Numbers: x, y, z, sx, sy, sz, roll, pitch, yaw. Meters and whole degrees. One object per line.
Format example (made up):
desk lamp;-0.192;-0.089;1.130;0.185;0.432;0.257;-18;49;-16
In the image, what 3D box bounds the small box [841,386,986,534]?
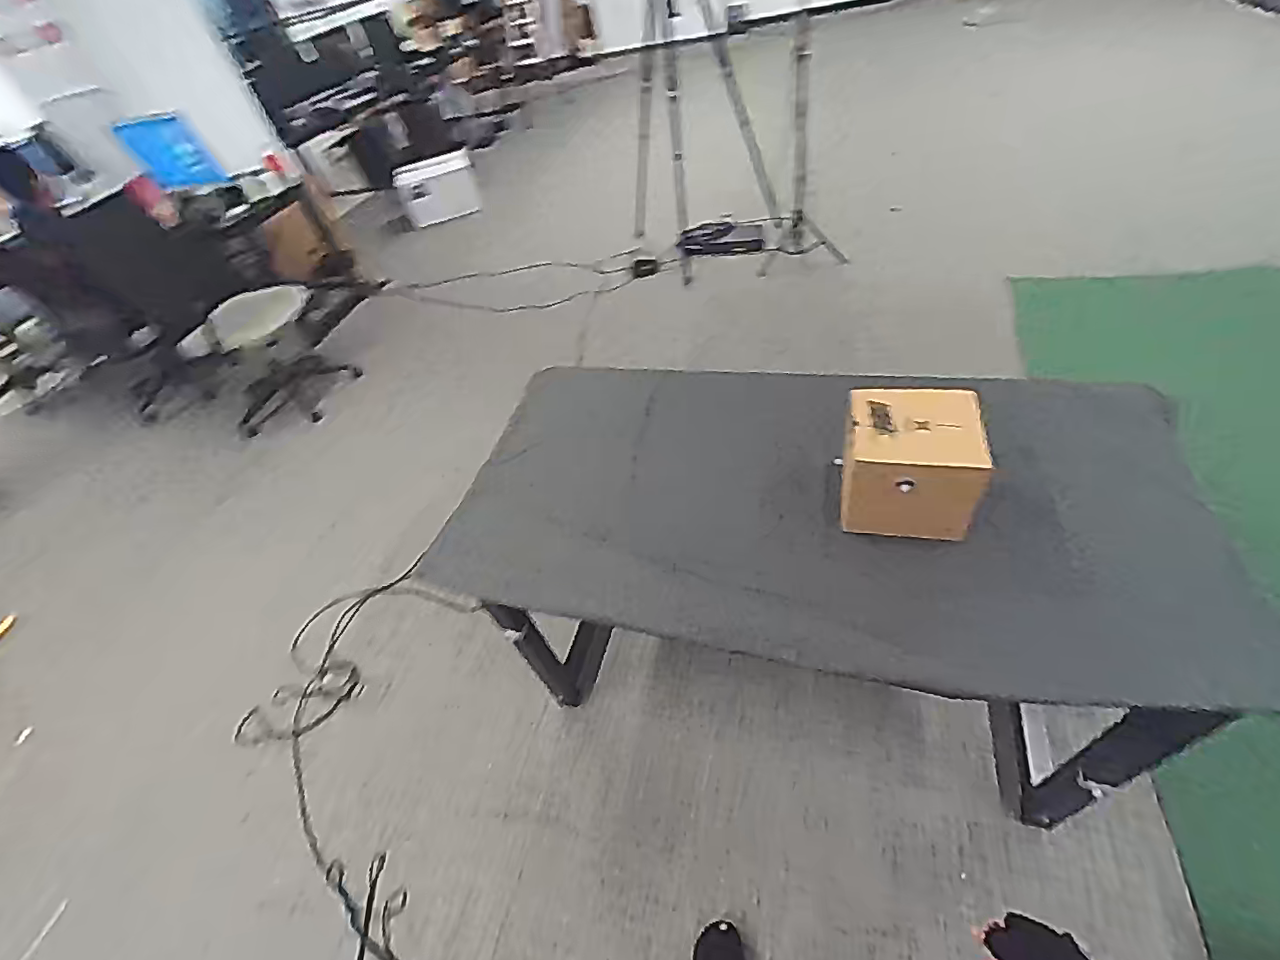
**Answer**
small box;0.414;-0.031;0.852;0.179;0.176;0.168;4;49;17
